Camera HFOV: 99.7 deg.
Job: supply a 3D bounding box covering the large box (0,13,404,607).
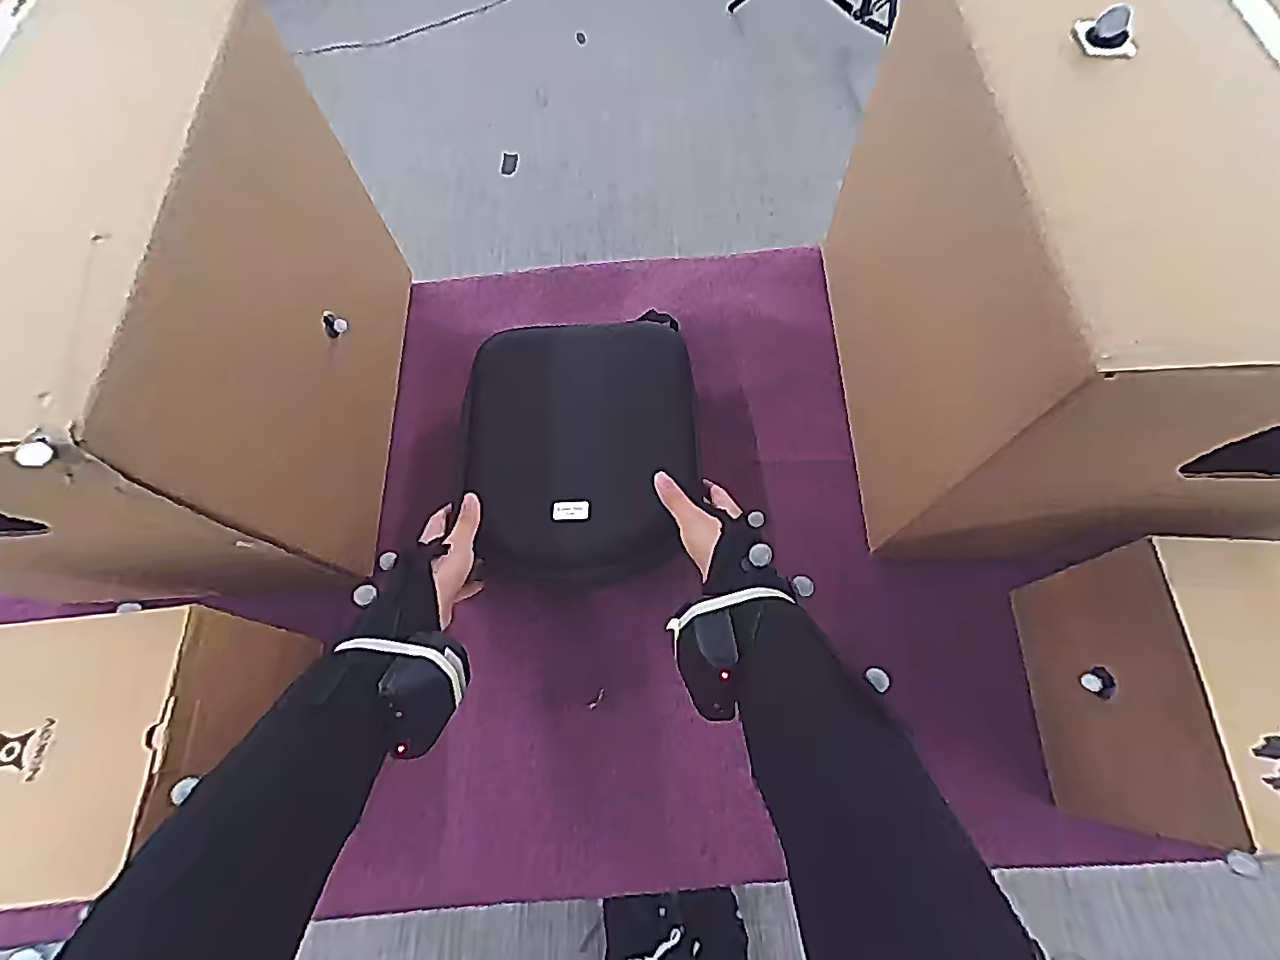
[{"bbox_3d":[-0.437,-0.119,0.490,0.320,0.320,0.408,-5,68,0],"label":"large box"}]
